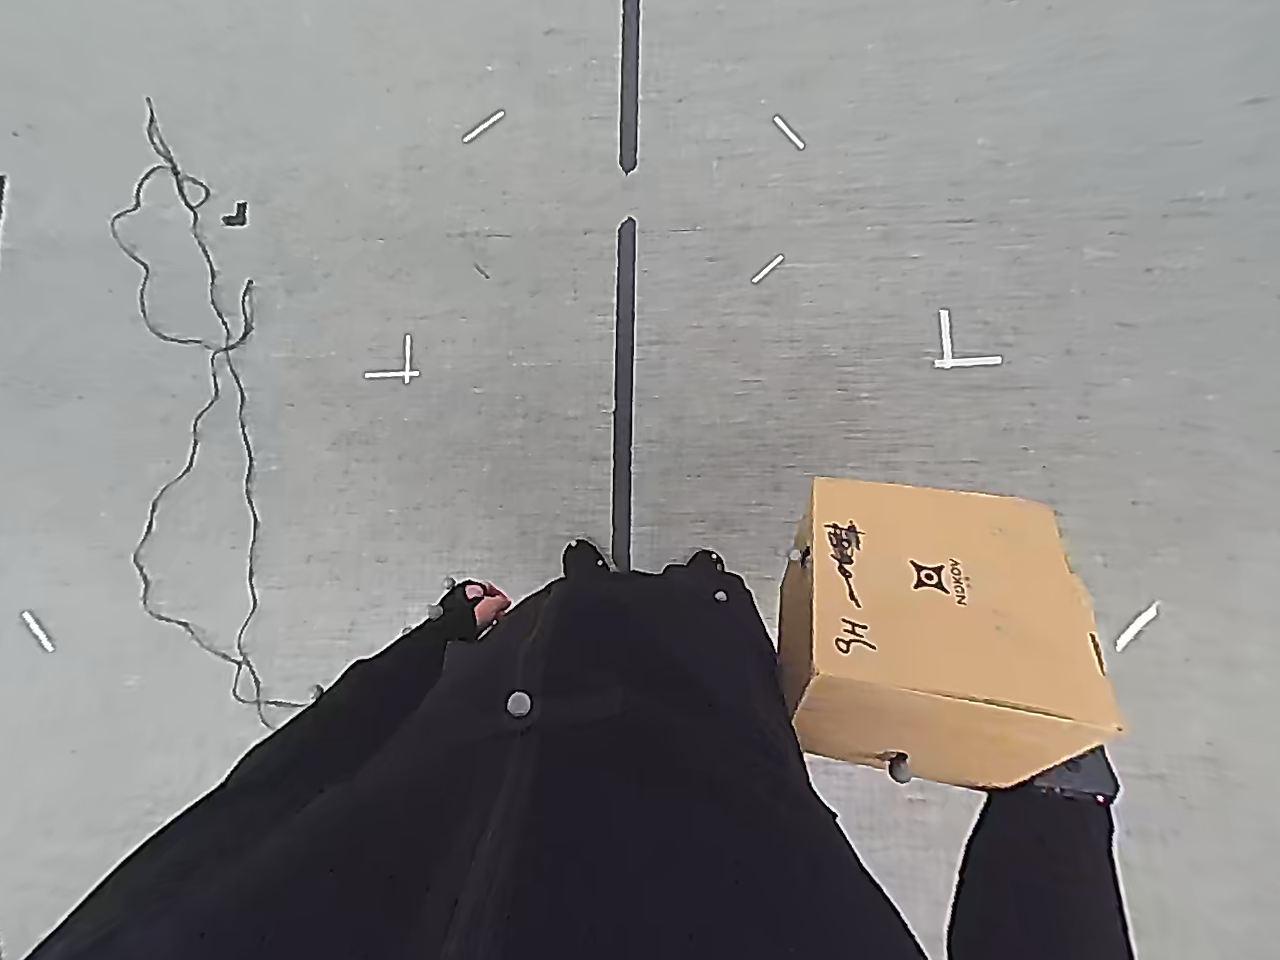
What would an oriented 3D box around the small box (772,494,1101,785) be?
[{"bbox_3d":[0.214,0.135,0.450,0.179,0.176,0.168,7,49,9],"label":"small box"}]
